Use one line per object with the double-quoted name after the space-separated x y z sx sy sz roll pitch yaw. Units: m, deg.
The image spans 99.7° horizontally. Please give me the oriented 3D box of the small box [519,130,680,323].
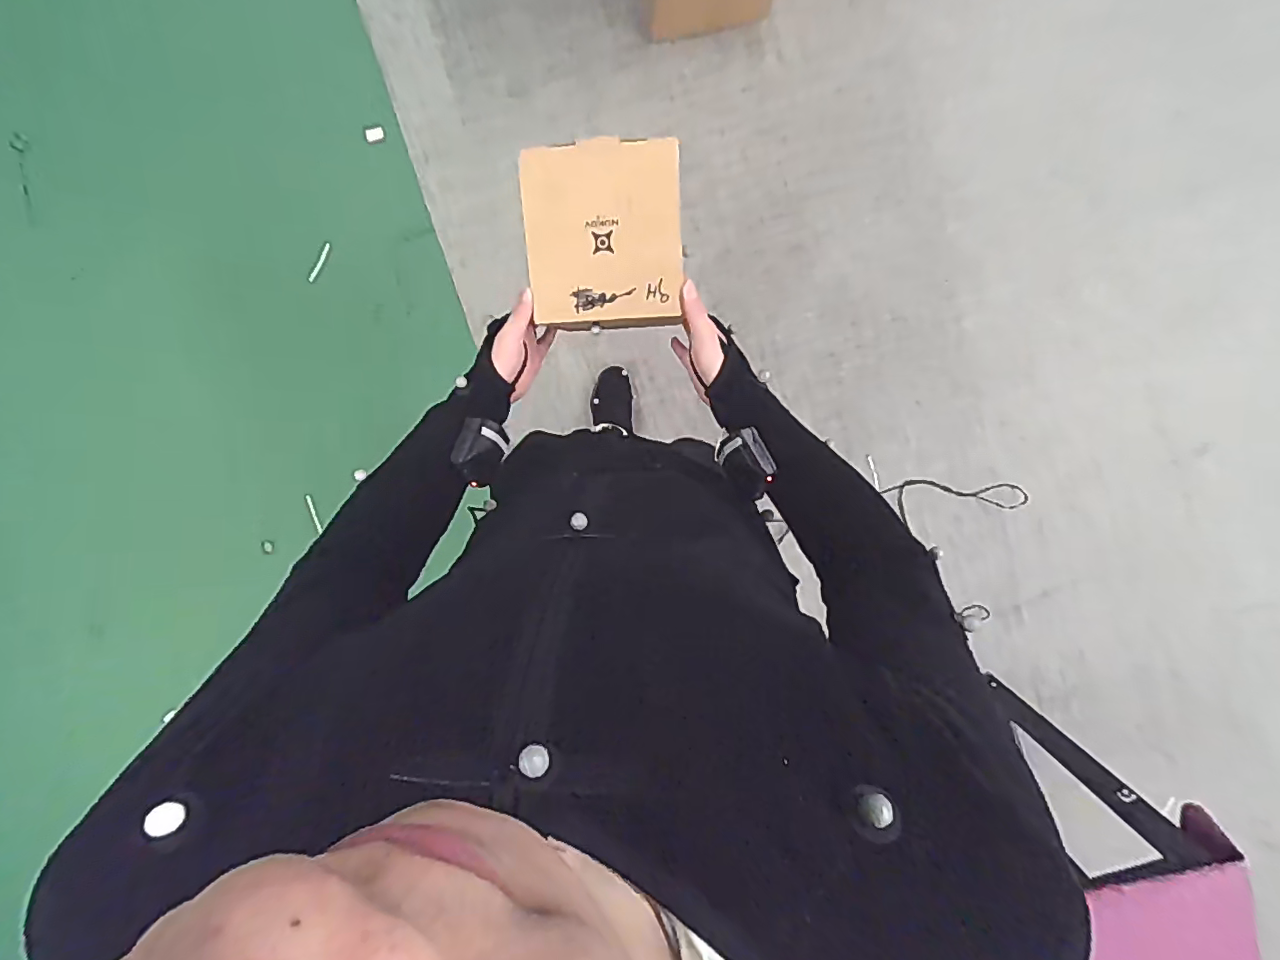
-0.037 -0.286 0.648 0.168 0.176 0.179 -2 104 5 "small box"
